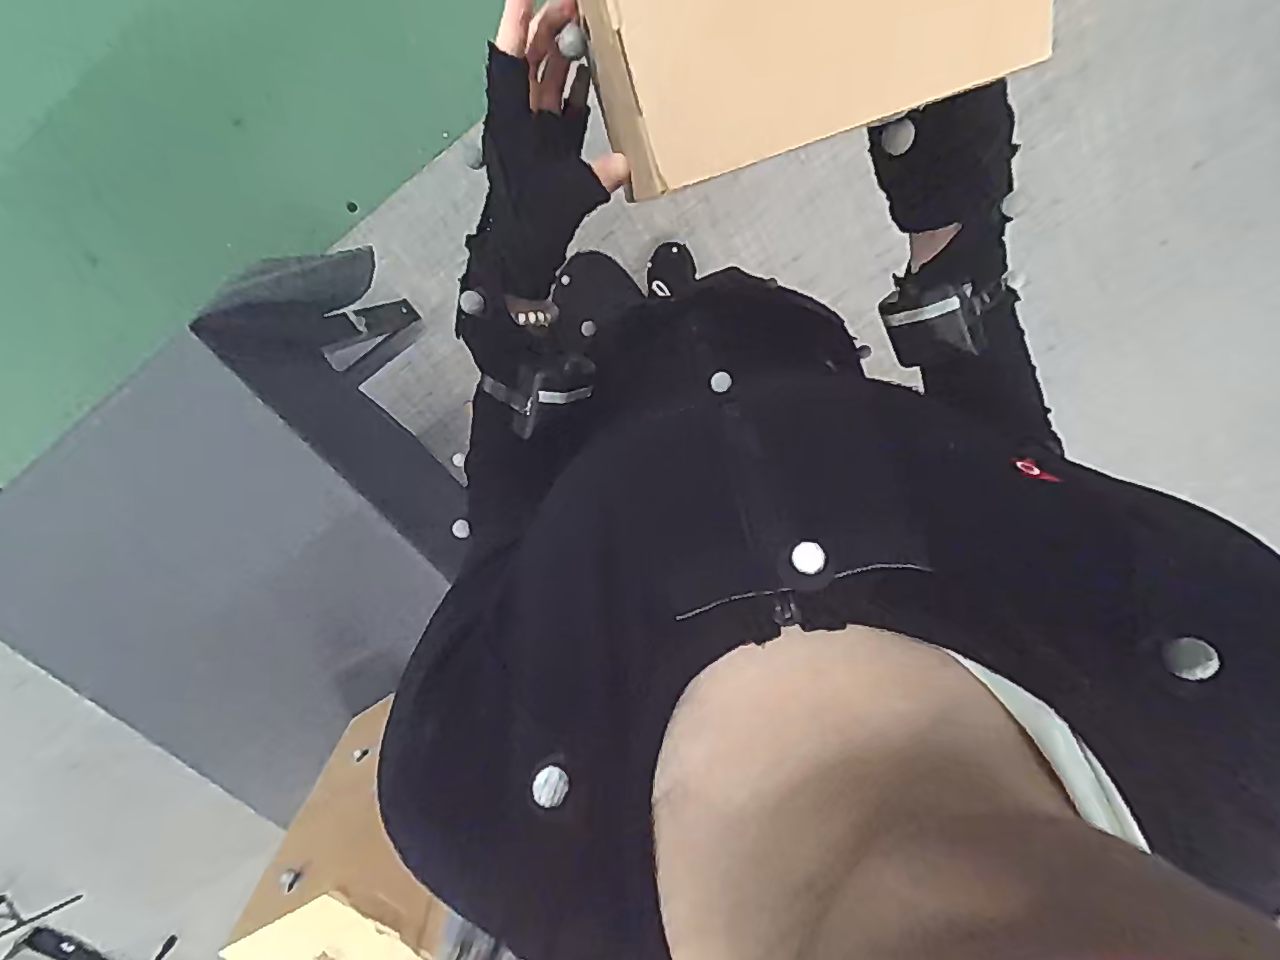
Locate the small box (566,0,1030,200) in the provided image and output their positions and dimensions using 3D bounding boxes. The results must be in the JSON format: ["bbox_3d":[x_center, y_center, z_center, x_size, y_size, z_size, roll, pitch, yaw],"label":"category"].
[{"bbox_3d":[0.056,-0.259,0.276,0.179,0.176,0.168,-18,115,3],"label":"small box"}]

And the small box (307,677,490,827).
[{"bbox_3d":[-0.353,0.442,0.835,0.179,0.176,0.168,-34,109,12],"label":"small box"}]

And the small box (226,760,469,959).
[{"bbox_3d":[-0.348,0.502,0.684,0.179,0.176,0.168,-34,109,11],"label":"small box"}]
